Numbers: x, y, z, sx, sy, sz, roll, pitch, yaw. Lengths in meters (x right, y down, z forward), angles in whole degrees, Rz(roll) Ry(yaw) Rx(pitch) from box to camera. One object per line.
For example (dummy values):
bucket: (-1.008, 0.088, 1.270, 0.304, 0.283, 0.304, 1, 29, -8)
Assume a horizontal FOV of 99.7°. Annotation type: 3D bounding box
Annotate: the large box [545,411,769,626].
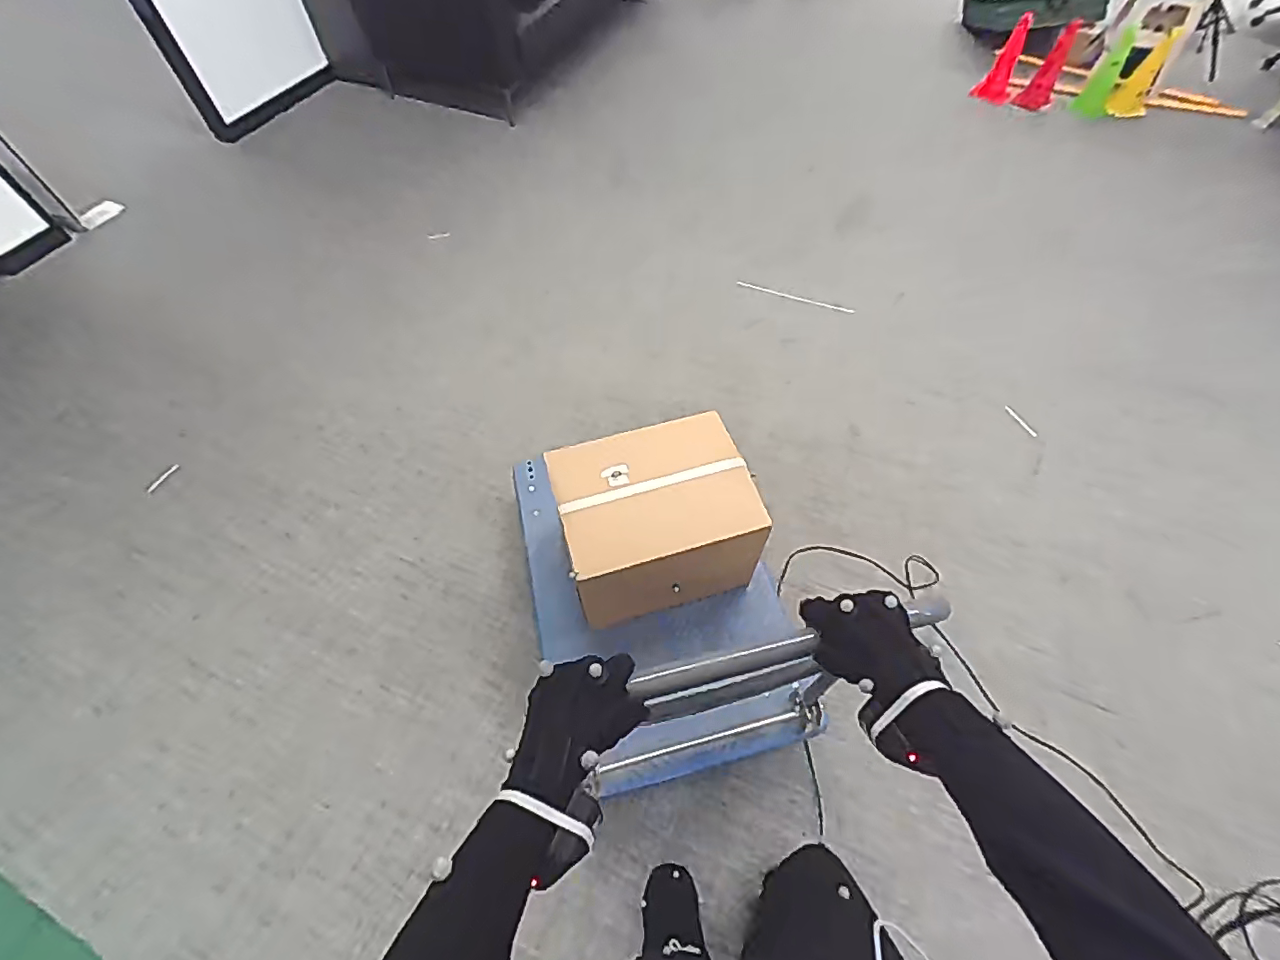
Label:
large box: (0.030, 0.096, 1.252, 0.408, 0.320, 0.320, -16, 58, -9)
